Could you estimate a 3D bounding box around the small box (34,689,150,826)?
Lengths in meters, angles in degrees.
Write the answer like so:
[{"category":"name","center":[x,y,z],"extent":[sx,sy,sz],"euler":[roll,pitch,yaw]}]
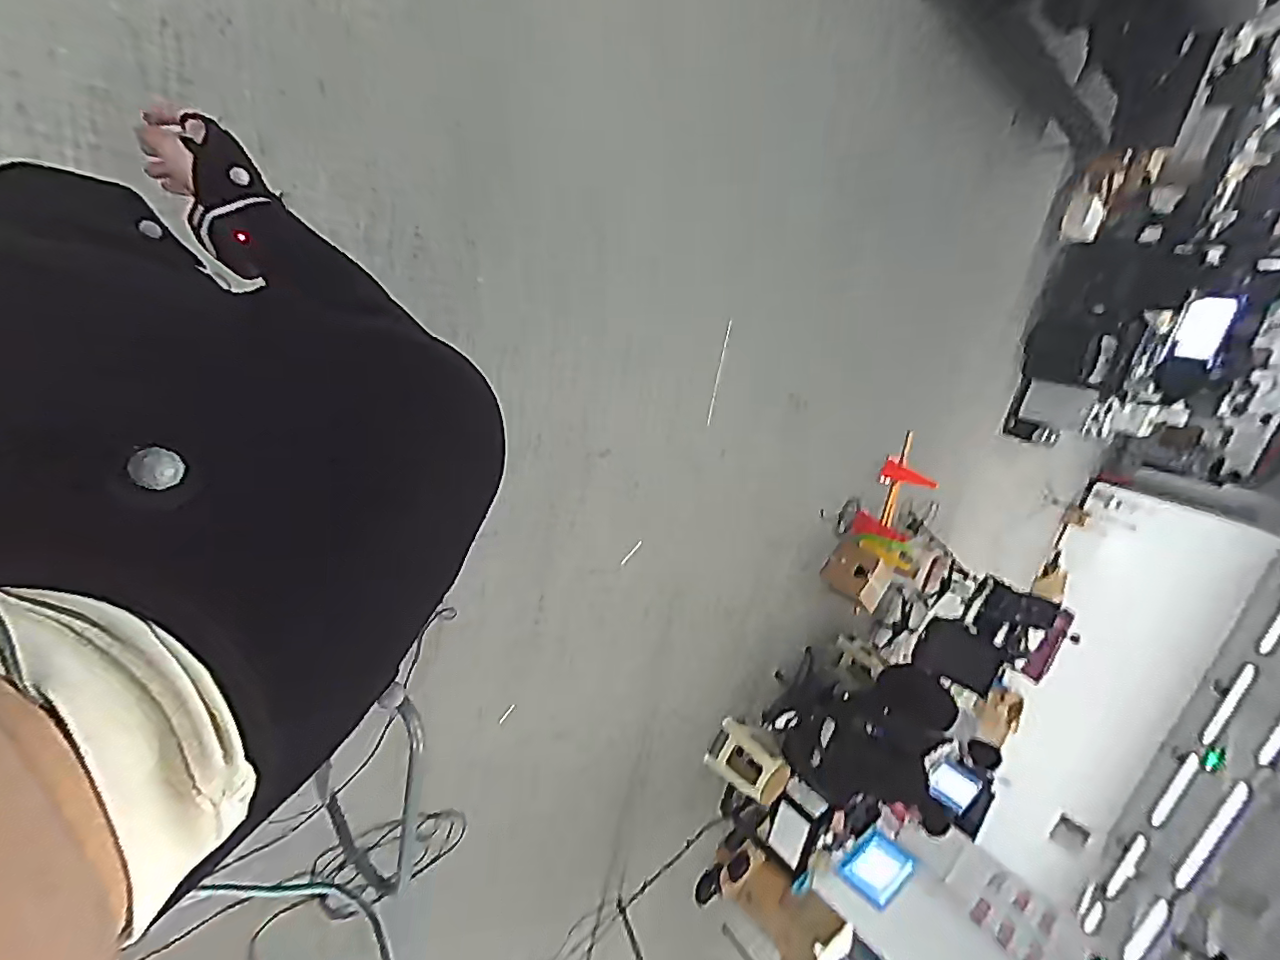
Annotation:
[{"category":"small box","center":[-1.193,0.600,1.190],"extent":[0.168,0.176,0.179],"euler":[-4,111,-42]}]
